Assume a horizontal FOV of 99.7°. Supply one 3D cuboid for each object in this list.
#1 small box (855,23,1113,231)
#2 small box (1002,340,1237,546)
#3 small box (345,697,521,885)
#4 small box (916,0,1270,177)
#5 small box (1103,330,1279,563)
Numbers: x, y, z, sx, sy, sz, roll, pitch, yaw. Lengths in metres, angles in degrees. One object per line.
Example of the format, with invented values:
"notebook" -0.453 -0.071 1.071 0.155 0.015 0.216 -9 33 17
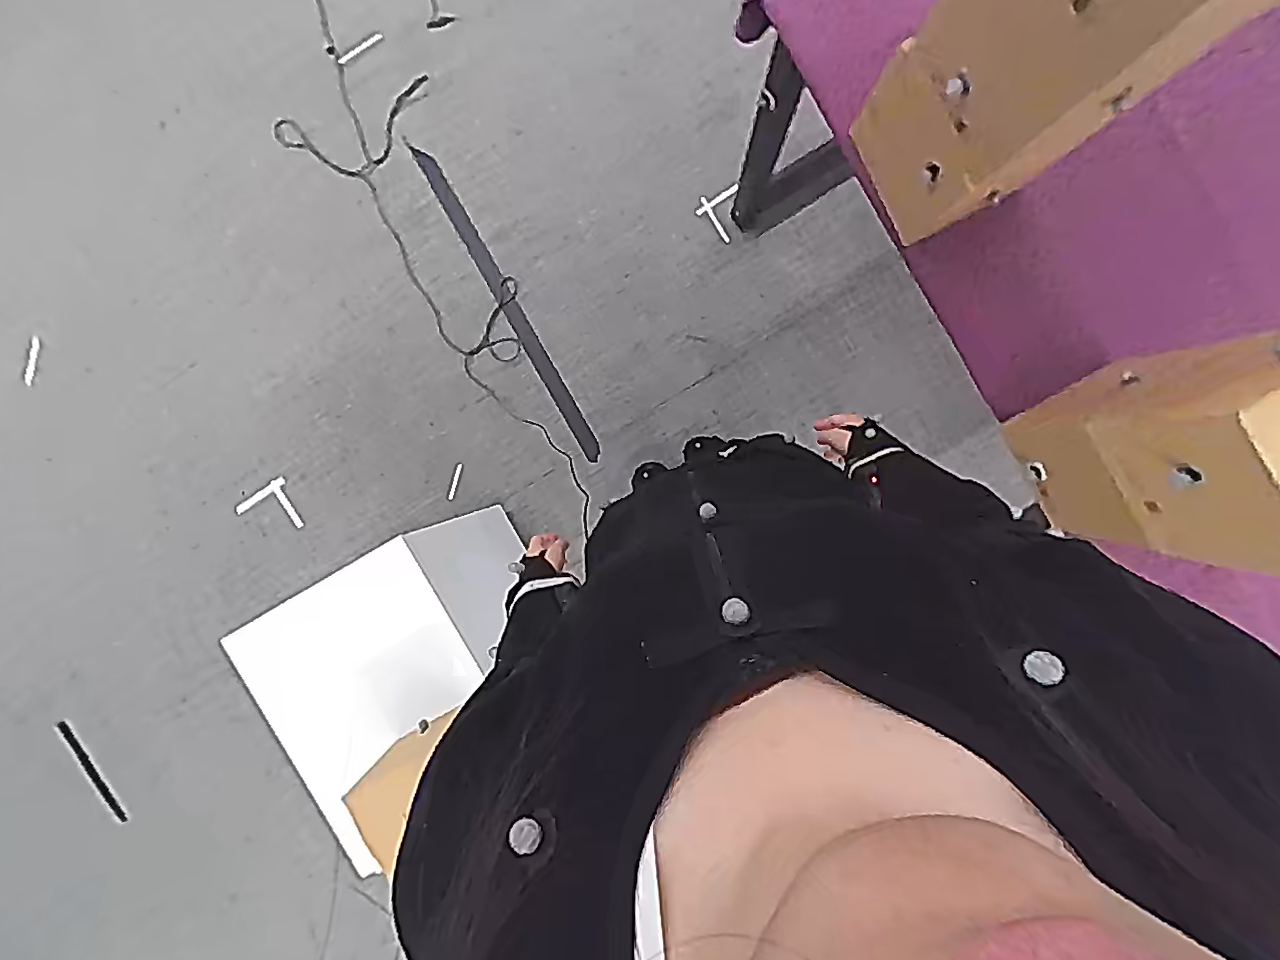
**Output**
"small box" 0.390 -0.427 0.645 0.168 0.176 0.179 -27 92 4
"small box" 0.600 -0.044 0.659 0.179 0.176 0.168 -30 90 6
"small box" -0.325 0.494 0.882 0.179 0.176 0.168 -30 91 6
"small box" 0.390 -0.418 0.481 0.179 0.176 0.168 -27 92 5
"small box" 0.587 -0.033 0.497 0.179 0.176 0.168 -31 90 4
